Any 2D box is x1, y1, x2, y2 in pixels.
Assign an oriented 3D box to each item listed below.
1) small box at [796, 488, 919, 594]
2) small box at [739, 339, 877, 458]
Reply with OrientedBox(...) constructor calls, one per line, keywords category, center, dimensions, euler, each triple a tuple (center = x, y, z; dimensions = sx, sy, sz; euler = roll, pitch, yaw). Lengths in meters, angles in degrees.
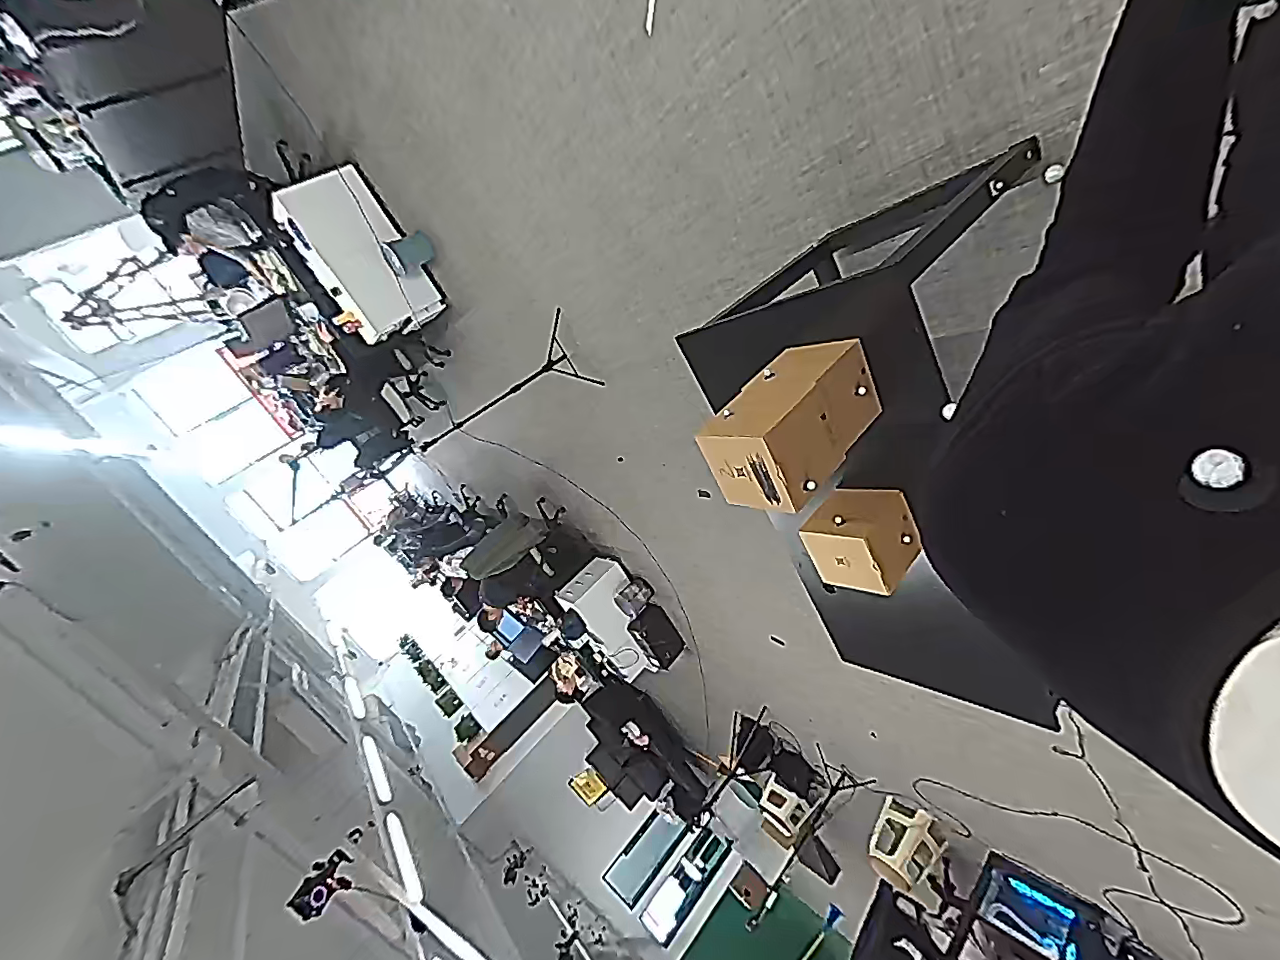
OrientedBox(category="small box", center=(0.500, 0.130, 1.241), dimensions=(0.179, 0.176, 0.168), euler=(1, 127, 57))
OrientedBox(category="small box", center=(0.337, -0.164, 1.082), dimensions=(0.179, 0.176, 0.168), euler=(8, 135, 53))
